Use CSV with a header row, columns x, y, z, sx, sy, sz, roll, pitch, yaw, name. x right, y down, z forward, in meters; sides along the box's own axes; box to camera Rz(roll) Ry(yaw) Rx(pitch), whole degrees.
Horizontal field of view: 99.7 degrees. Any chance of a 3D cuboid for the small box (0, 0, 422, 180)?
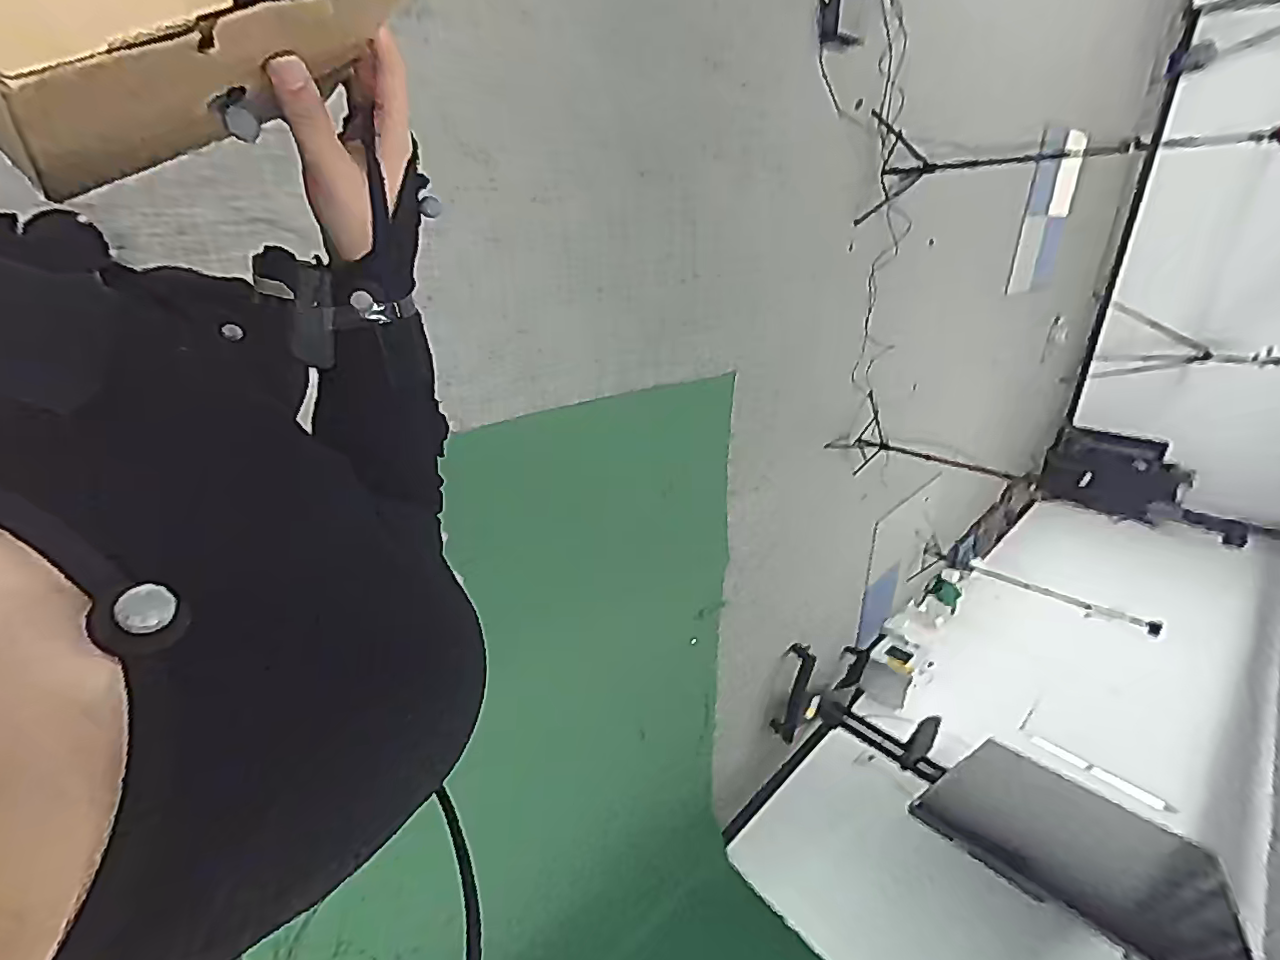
x,y,z,sx,sy,sz,roll,pitch,yaw,name
-0.229,-0.243,0.213,0.168,0.176,0.179,-46,127,-27,small box
